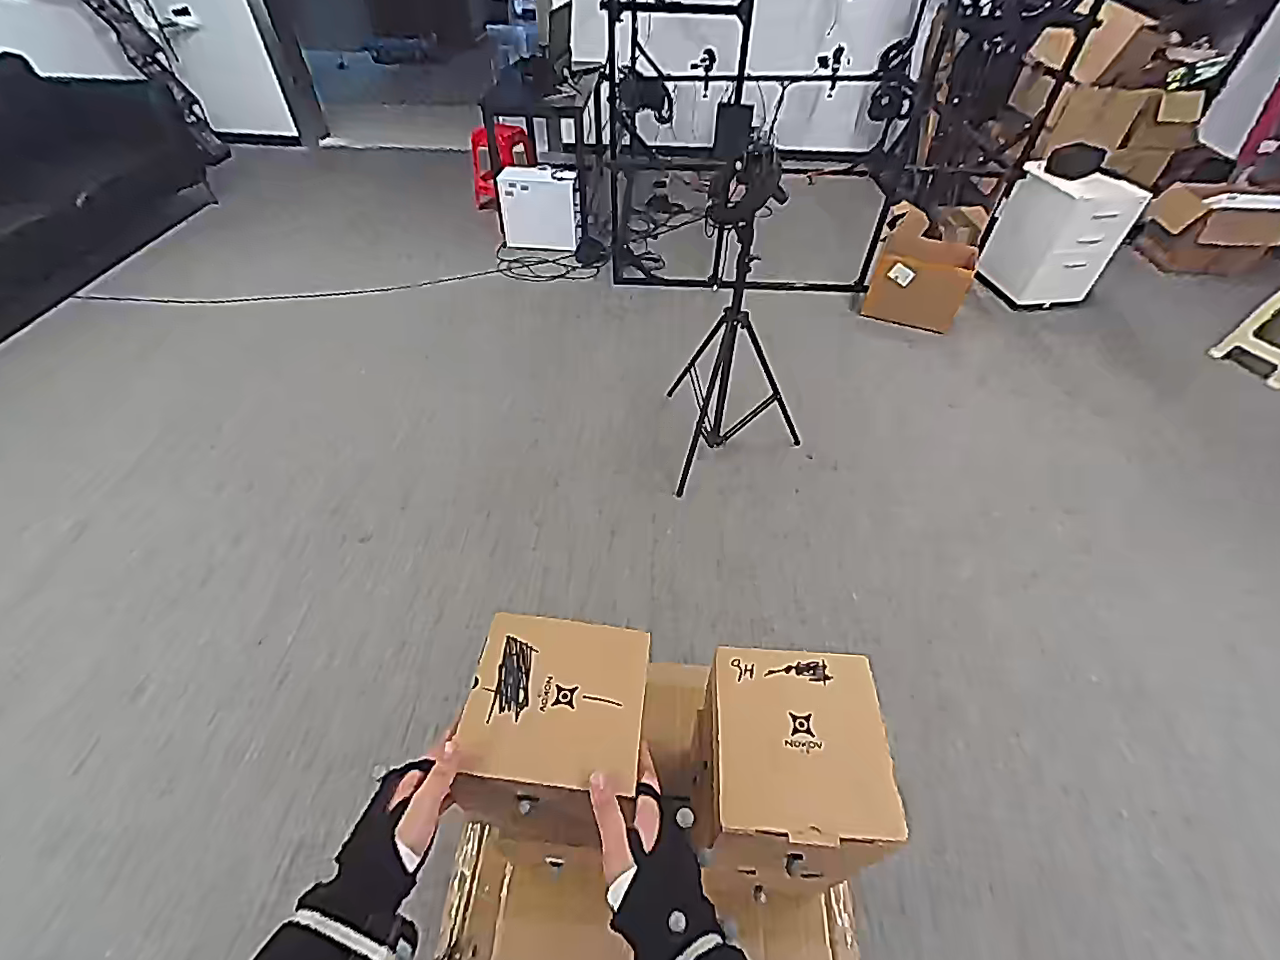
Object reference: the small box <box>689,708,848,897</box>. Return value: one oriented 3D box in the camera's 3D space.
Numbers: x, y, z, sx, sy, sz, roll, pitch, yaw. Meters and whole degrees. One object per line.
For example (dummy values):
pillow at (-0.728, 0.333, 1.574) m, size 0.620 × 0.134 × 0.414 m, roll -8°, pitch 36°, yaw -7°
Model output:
small box at (0.152, 0.421, 0.708) m, size 0.168 × 0.176 × 0.179 m, roll 1°, pitch 47°, yaw 2°

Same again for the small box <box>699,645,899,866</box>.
small box at (0.155, 0.303, 0.592) m, size 0.168 × 0.176 × 0.179 m, roll 4°, pitch 48°, yaw 3°

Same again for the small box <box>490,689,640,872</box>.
small box at (-0.087, 0.402, 0.724) m, size 0.168 × 0.176 × 0.179 m, roll 2°, pitch 48°, yaw 1°
